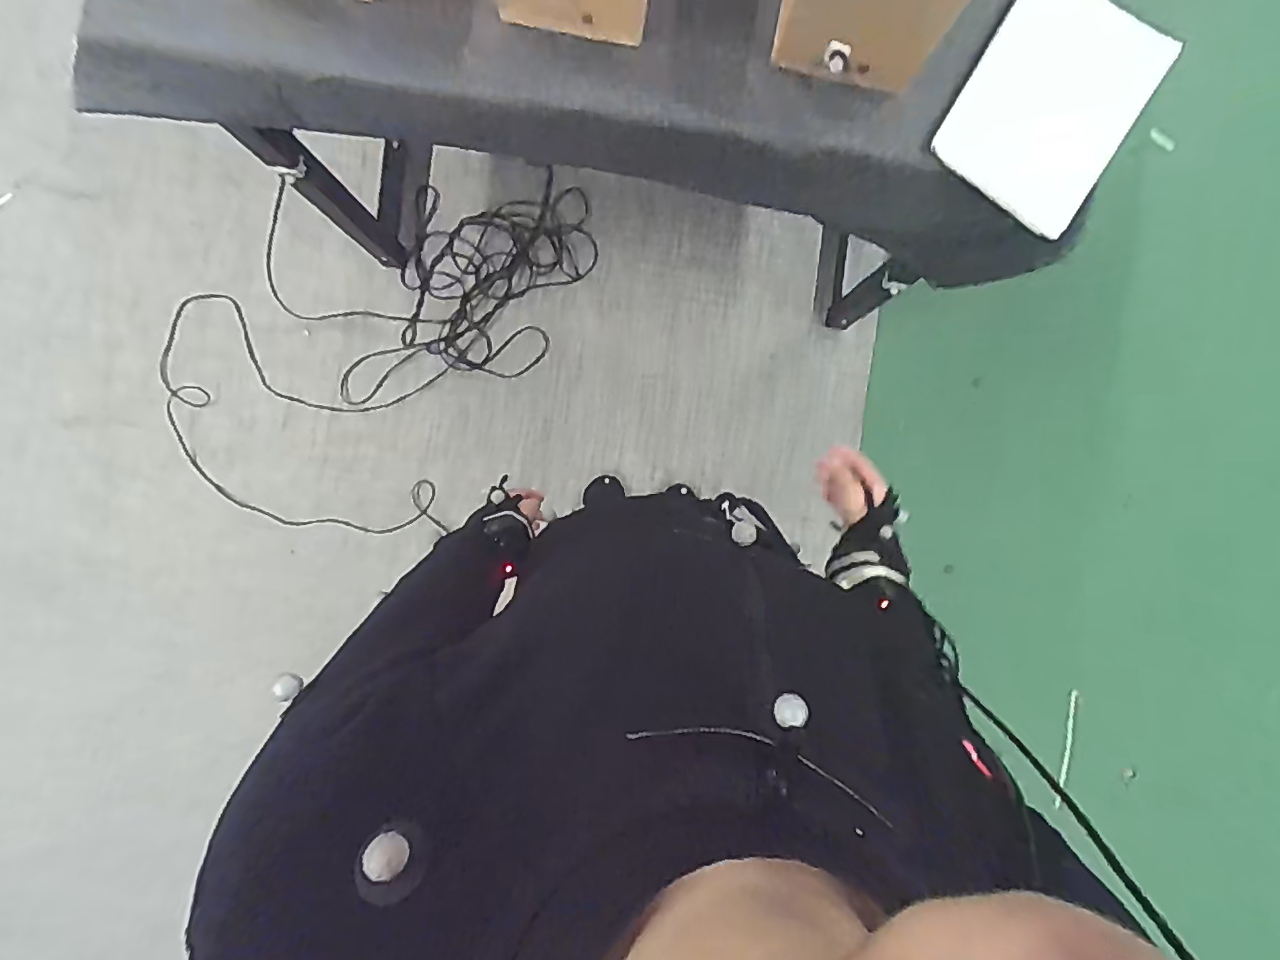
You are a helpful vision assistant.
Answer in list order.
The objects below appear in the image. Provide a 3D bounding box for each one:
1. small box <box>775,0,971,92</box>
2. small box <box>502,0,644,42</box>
[{"bbox_3d":[0.250,-0.556,0.558,0.168,0.176,0.179,10,91,0],"label":"small box"},{"bbox_3d":[-0.069,-0.600,0.547,0.168,0.176,0.179,9,89,-2],"label":"small box"}]
